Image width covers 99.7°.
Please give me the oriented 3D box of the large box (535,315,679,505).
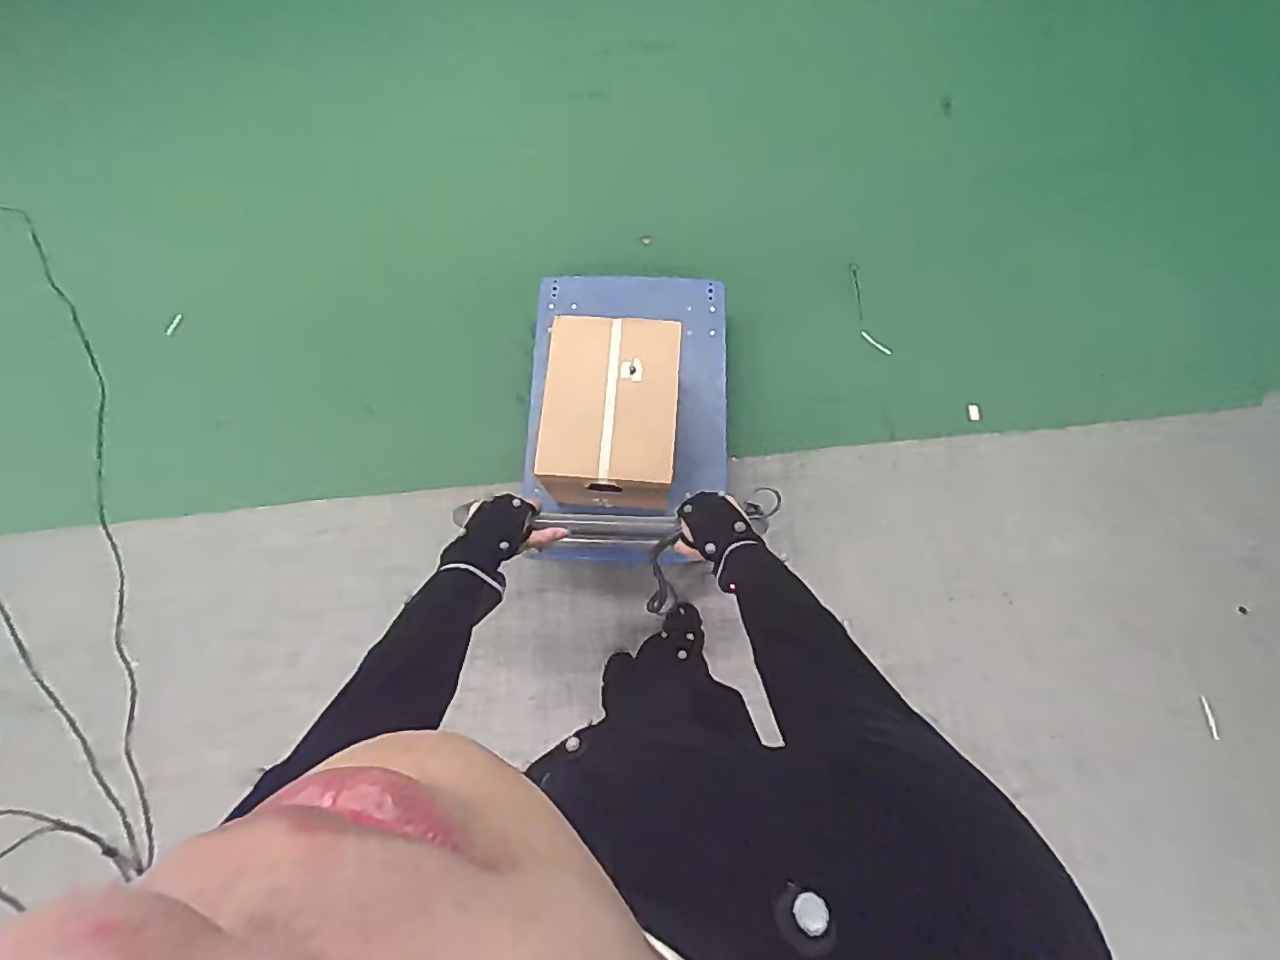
[{"bbox_3d":[-0.068,-0.163,1.403,0.320,0.320,0.408,5,75,1],"label":"large box"}]
